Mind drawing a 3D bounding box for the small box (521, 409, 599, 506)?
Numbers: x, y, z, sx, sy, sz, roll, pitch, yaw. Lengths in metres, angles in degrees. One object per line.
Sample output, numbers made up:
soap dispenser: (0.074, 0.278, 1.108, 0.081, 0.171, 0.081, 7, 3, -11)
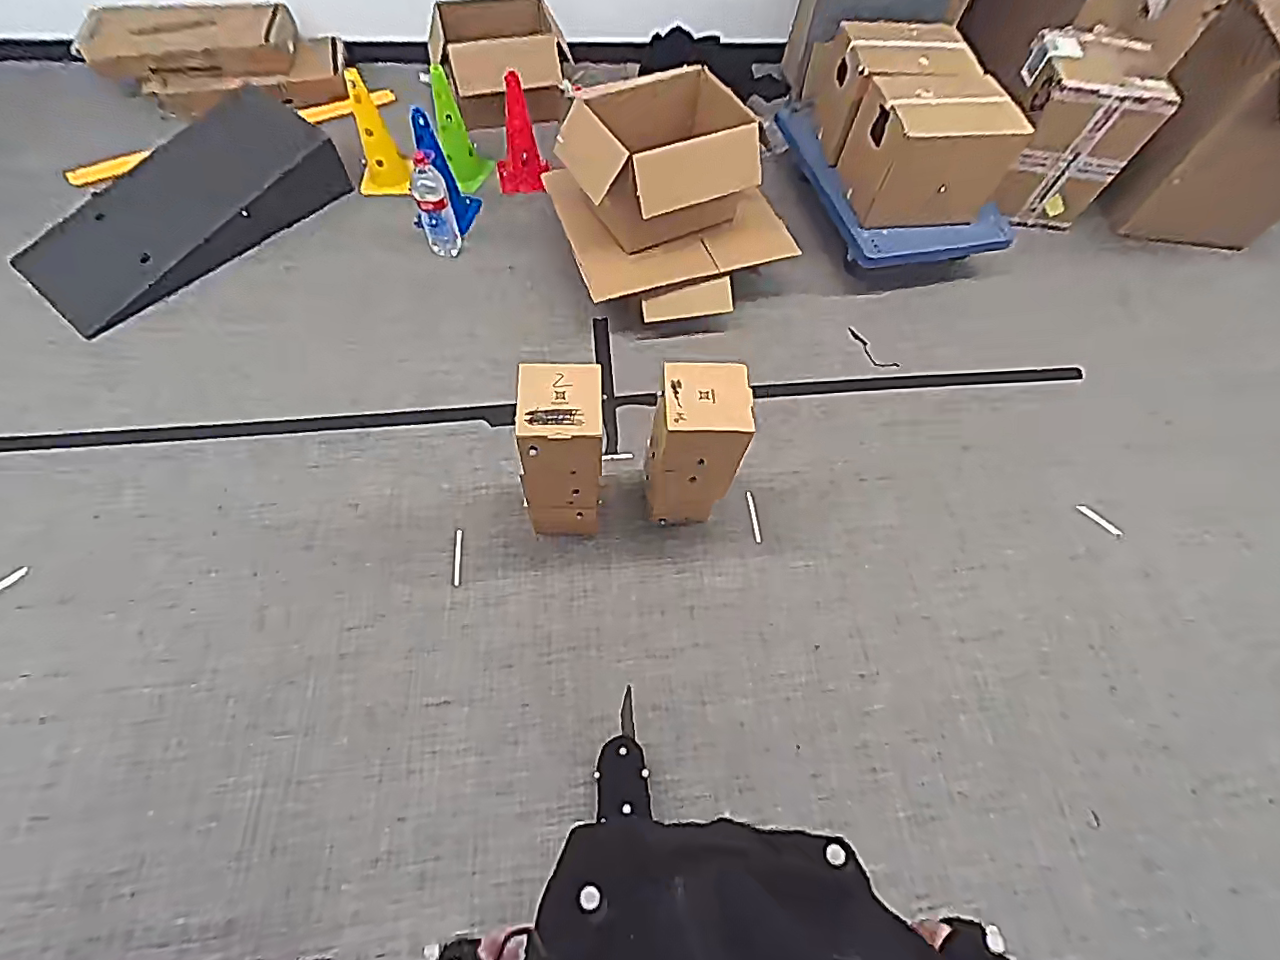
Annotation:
small box: (-0.181, -0.047, 1.266, 0.168, 0.176, 0.179, 1, 62, -6)

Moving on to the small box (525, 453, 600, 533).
small box: (-0.194, 0.034, 1.406, 0.179, 0.176, 0.168, 2, 63, -3)

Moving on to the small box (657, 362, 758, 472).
small box: (0.134, -0.127, 1.141, 0.179, 0.176, 0.168, 1, 63, -5)

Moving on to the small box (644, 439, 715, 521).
small box: (0.106, 0.003, 1.442, 0.168, 0.176, 0.179, -4, 63, -7)

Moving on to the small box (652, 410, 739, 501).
small box: (0.123, -0.056, 1.289, 0.179, 0.176, 0.168, -2, 64, -6)
